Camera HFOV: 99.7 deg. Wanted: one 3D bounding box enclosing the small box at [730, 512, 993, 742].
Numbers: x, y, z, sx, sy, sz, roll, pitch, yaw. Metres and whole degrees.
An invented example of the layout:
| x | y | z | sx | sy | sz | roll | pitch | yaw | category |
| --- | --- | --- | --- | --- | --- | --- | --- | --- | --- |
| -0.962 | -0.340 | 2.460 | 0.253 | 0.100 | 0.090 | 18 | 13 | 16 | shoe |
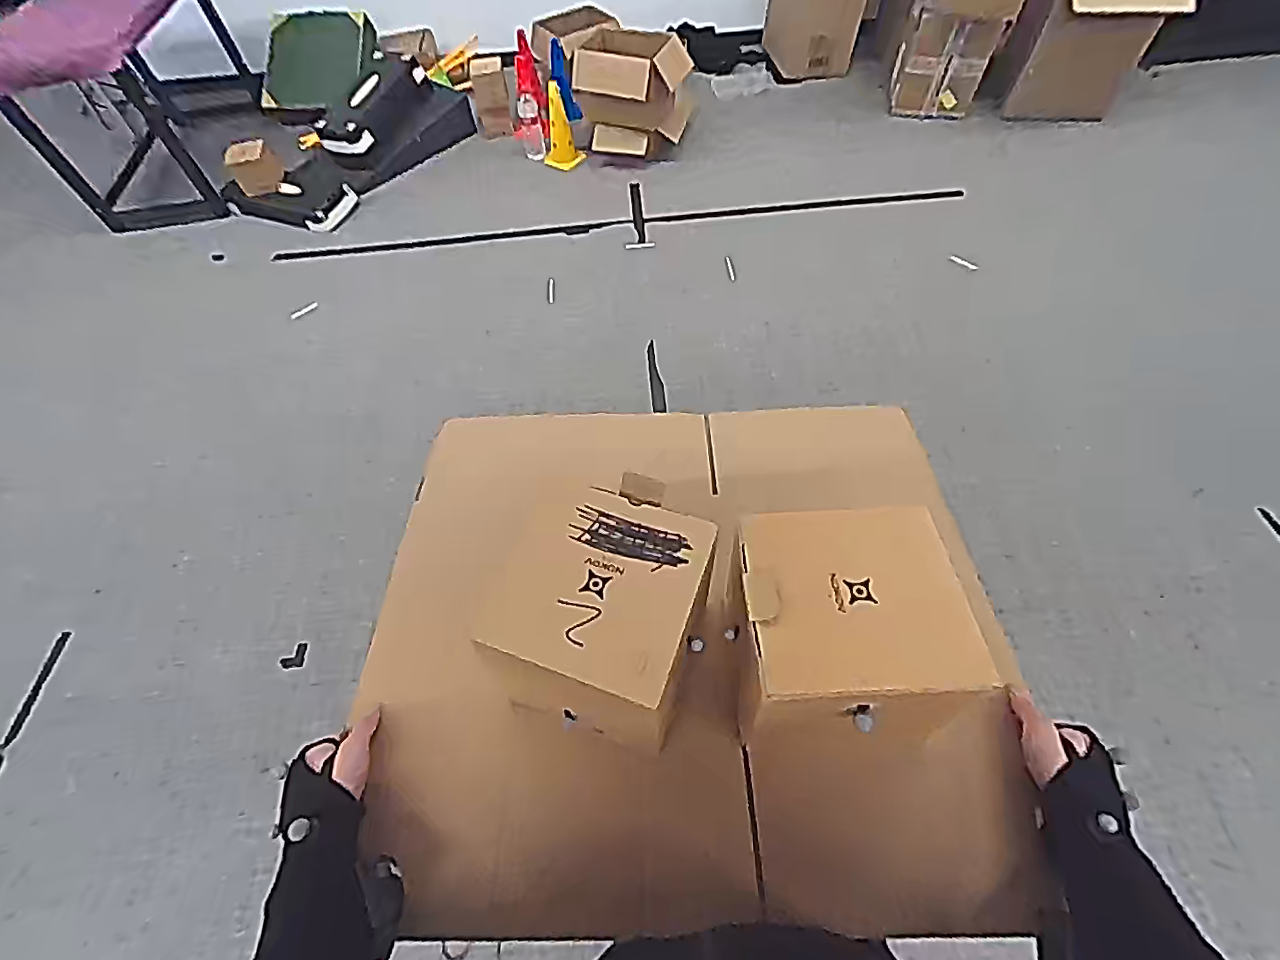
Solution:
| x | y | z | sx | sy | sz | roll | pitch | yaw | category |
| --- | --- | --- | --- | --- | --- | --- | --- | --- | --- |
| 0.189 | 0.148 | 0.527 | 0.179 | 0.176 | 0.168 | -4 | 52 | 2 | small box |
